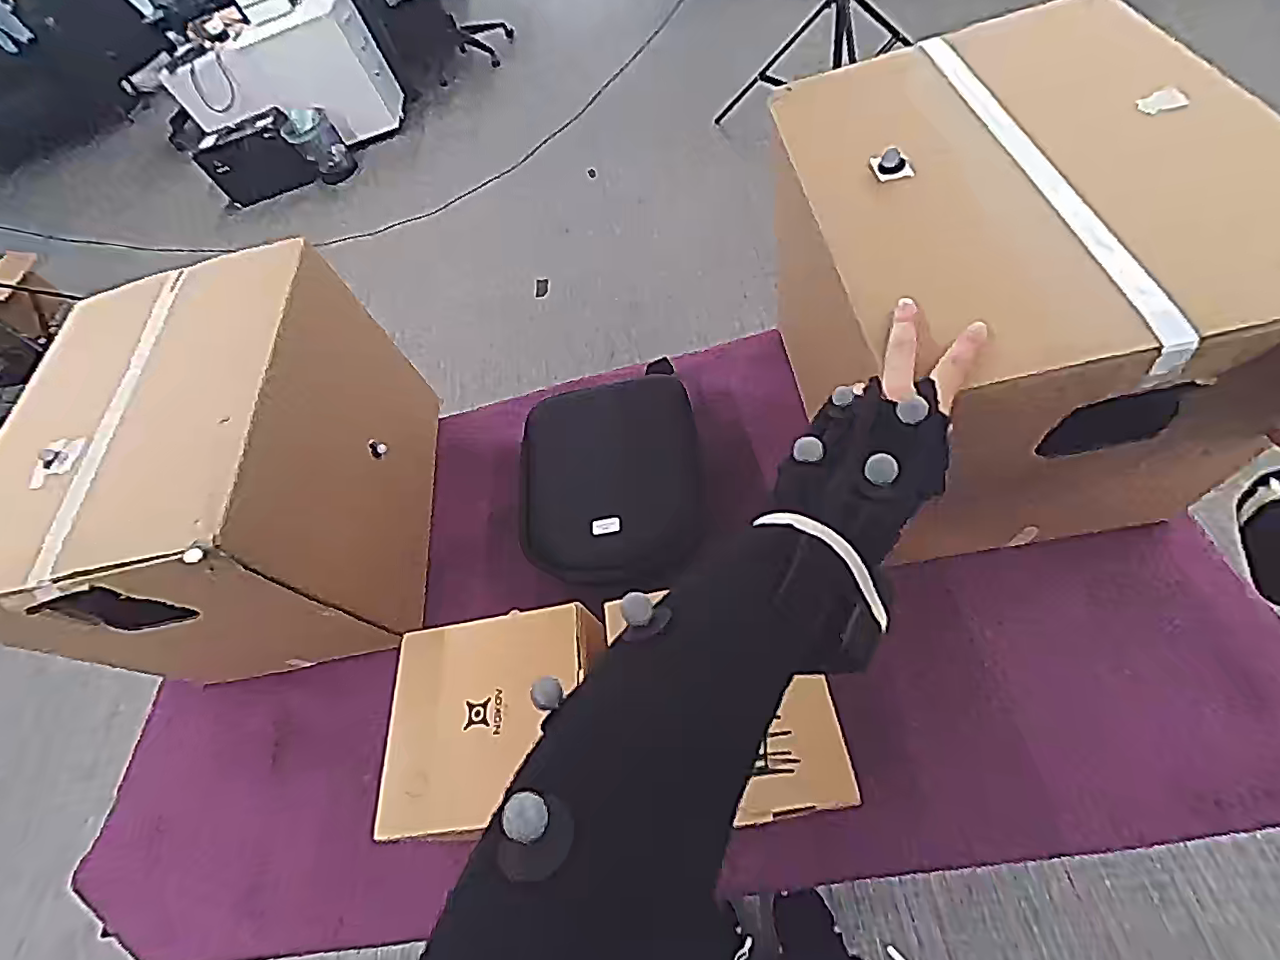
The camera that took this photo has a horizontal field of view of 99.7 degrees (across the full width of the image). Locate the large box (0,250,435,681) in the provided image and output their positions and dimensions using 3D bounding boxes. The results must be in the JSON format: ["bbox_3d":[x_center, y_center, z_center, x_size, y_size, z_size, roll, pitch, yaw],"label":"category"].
[{"bbox_3d":[-0.477,-0.002,0.678,0.320,0.320,0.408,-14,60,6],"label":"large box"}]
